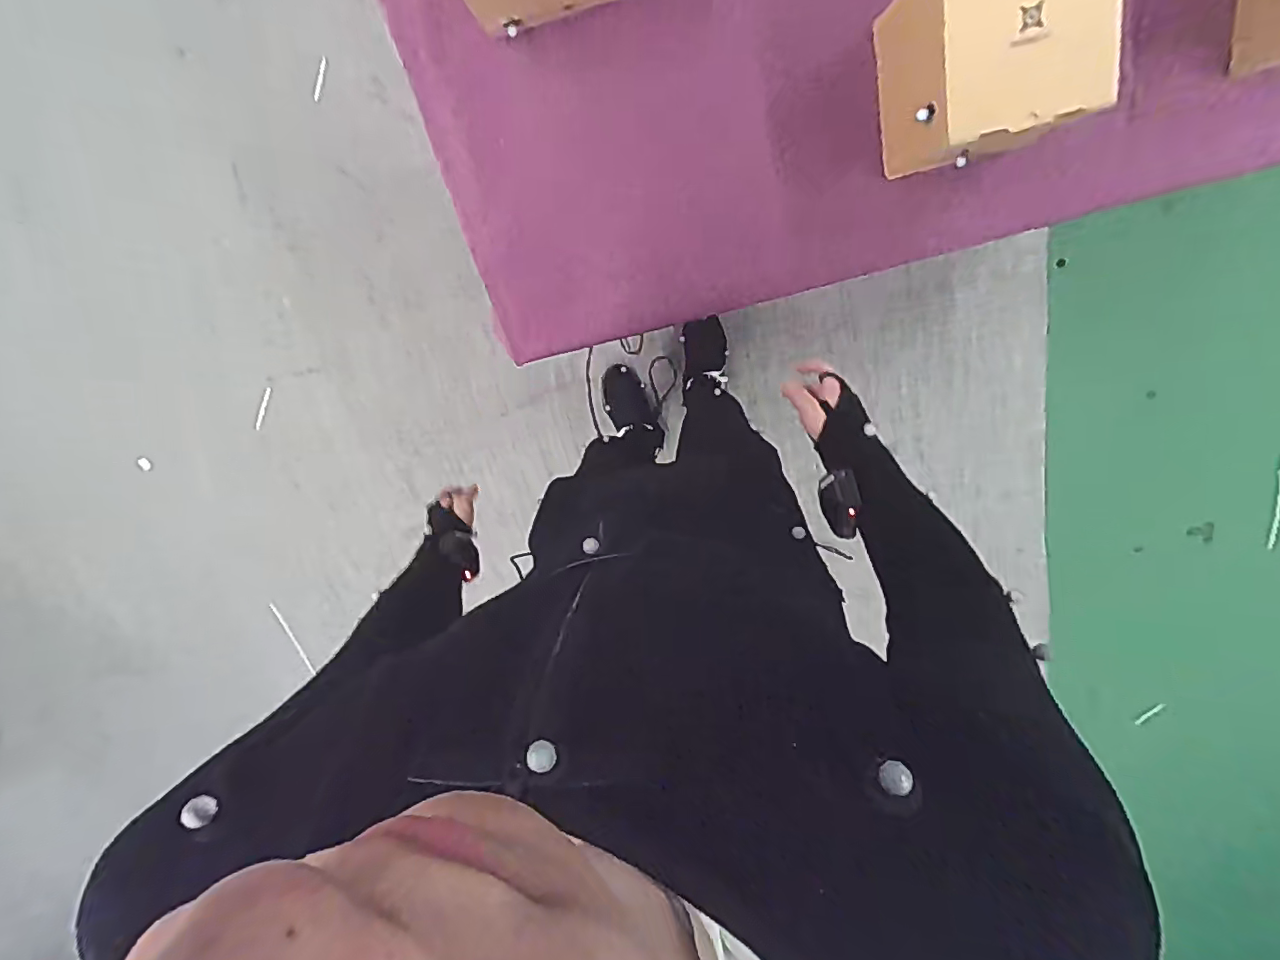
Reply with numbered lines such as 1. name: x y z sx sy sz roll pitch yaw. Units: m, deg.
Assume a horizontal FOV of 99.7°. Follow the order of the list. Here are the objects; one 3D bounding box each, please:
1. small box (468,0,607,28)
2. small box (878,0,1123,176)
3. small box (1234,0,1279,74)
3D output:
1. small box: -0.124 -0.607 0.554 0.168 0.176 0.179 -13 110 6
2. small box: 0.378 -0.464 0.595 0.168 0.176 0.179 -12 109 6
3. small box: 0.768 -0.556 0.542 0.168 0.176 0.179 -11 109 7
